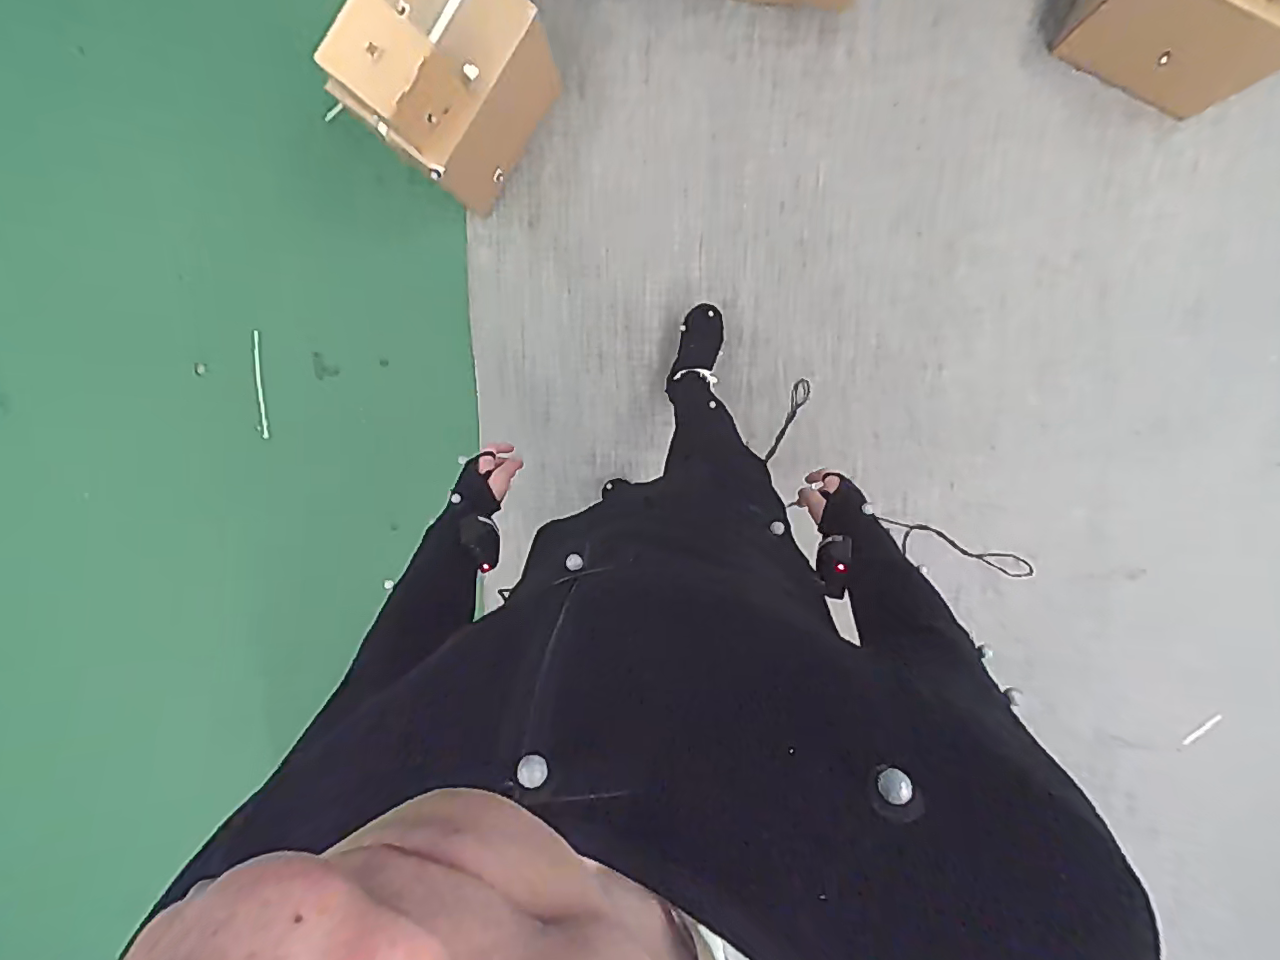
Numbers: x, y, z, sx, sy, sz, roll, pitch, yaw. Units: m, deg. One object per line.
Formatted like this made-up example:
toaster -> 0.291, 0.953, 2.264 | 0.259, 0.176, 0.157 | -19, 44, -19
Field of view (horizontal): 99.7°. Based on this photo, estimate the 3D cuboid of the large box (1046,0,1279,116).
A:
large box -> 1.274, -1.124, 1.224 | 0.408, 0.320, 0.320 | 24, 99, -1

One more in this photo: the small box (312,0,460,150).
small box -> -0.501, -0.816, 1.093 | 0.179, 0.176, 0.168 | 37, 98, -6
